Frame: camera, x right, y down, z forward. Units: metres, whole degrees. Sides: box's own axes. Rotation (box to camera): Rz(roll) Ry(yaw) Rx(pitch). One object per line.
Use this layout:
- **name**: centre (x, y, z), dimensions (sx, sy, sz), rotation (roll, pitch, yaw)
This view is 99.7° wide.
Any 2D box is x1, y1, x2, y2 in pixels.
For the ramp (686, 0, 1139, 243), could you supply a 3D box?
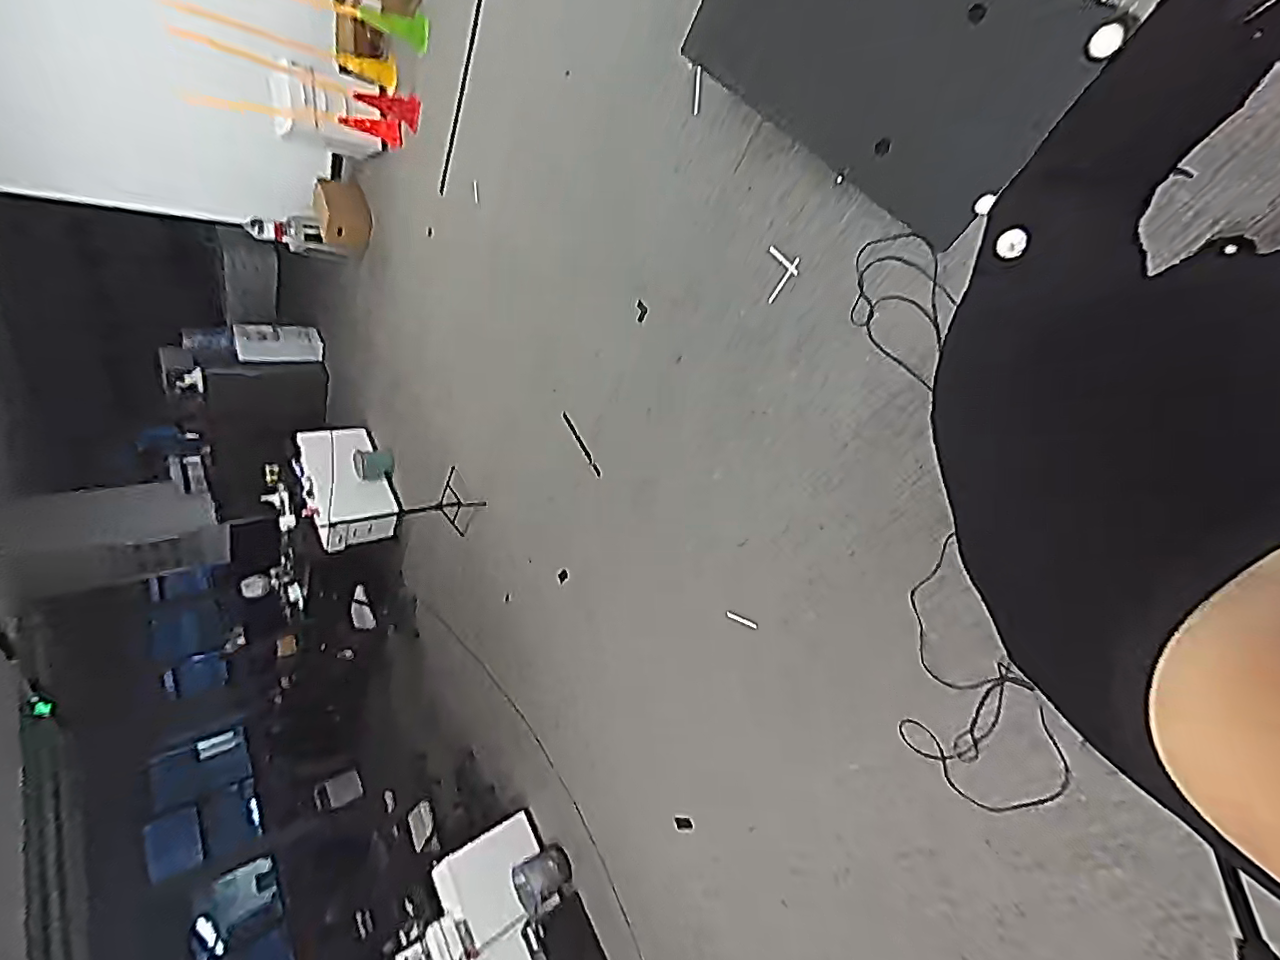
- **ramp**: centre (0.558, -1.097, 1.334), dimensions (0.991, 0.206, 0.509), rotation (55, 133, 25)
